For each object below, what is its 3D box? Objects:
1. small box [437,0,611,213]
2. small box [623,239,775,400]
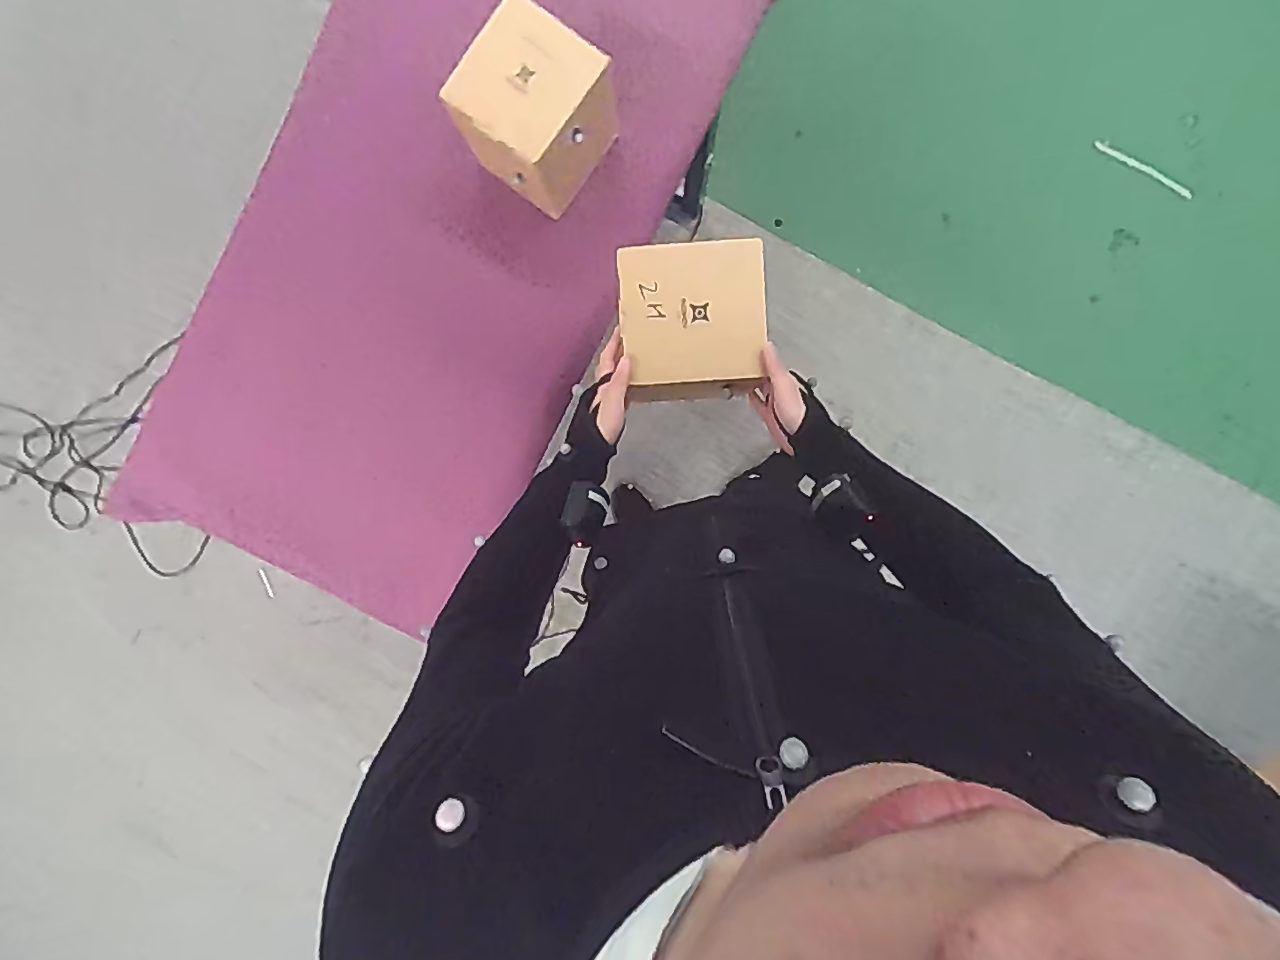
[{"bbox_3d":[-0.156,-0.540,0.799,0.168,0.176,0.179,37,93,0],"label":"small box"},{"bbox_3d":[0.072,-0.200,0.716,0.179,0.176,0.168,-3,91,2],"label":"small box"}]
